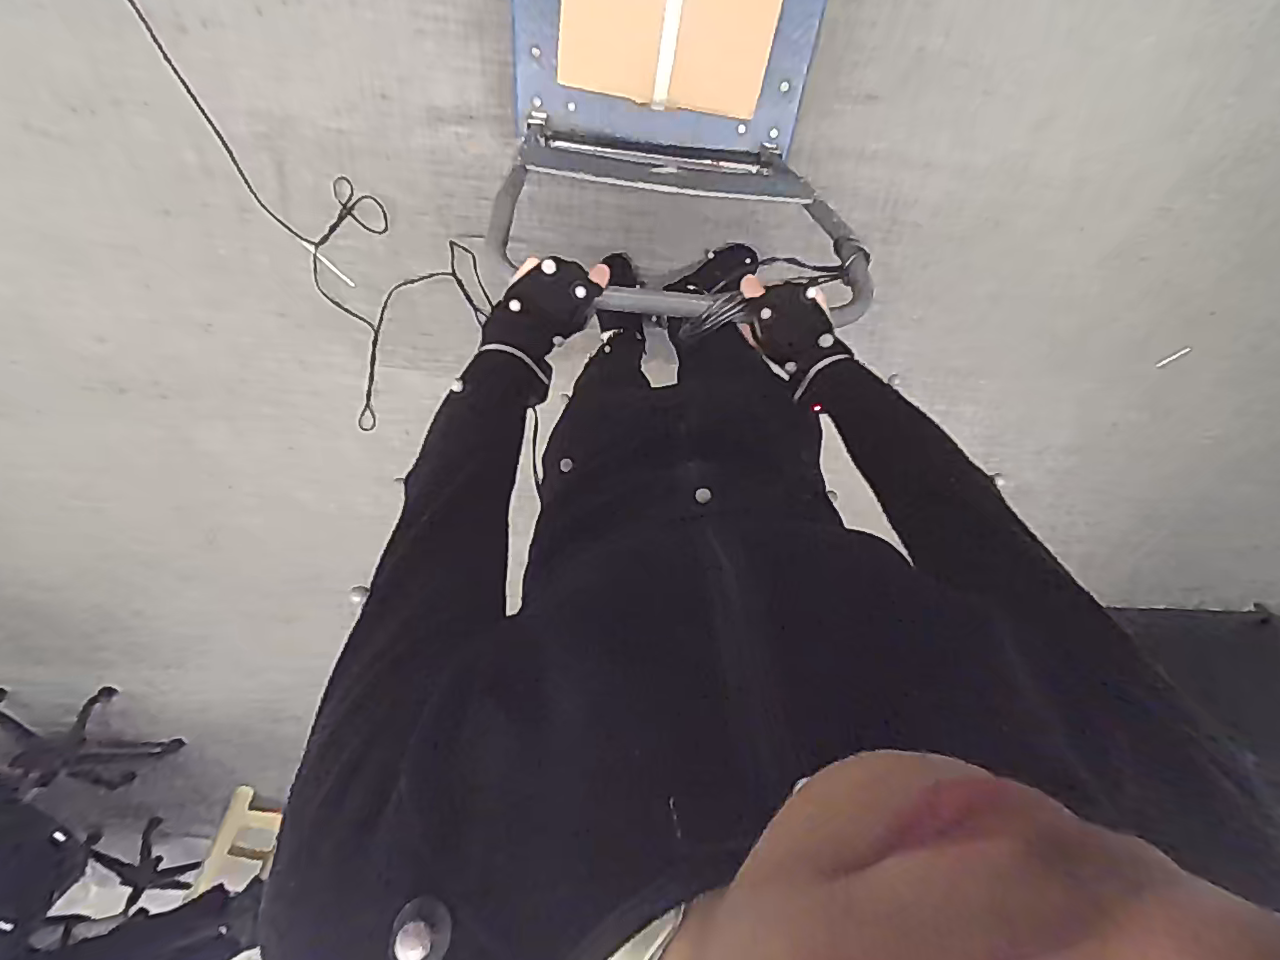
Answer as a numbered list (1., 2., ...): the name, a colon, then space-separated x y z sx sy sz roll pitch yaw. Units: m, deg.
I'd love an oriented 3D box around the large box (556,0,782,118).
1. large box: 0.051 -0.825 0.822 0.320 0.320 0.408 6 128 -9
